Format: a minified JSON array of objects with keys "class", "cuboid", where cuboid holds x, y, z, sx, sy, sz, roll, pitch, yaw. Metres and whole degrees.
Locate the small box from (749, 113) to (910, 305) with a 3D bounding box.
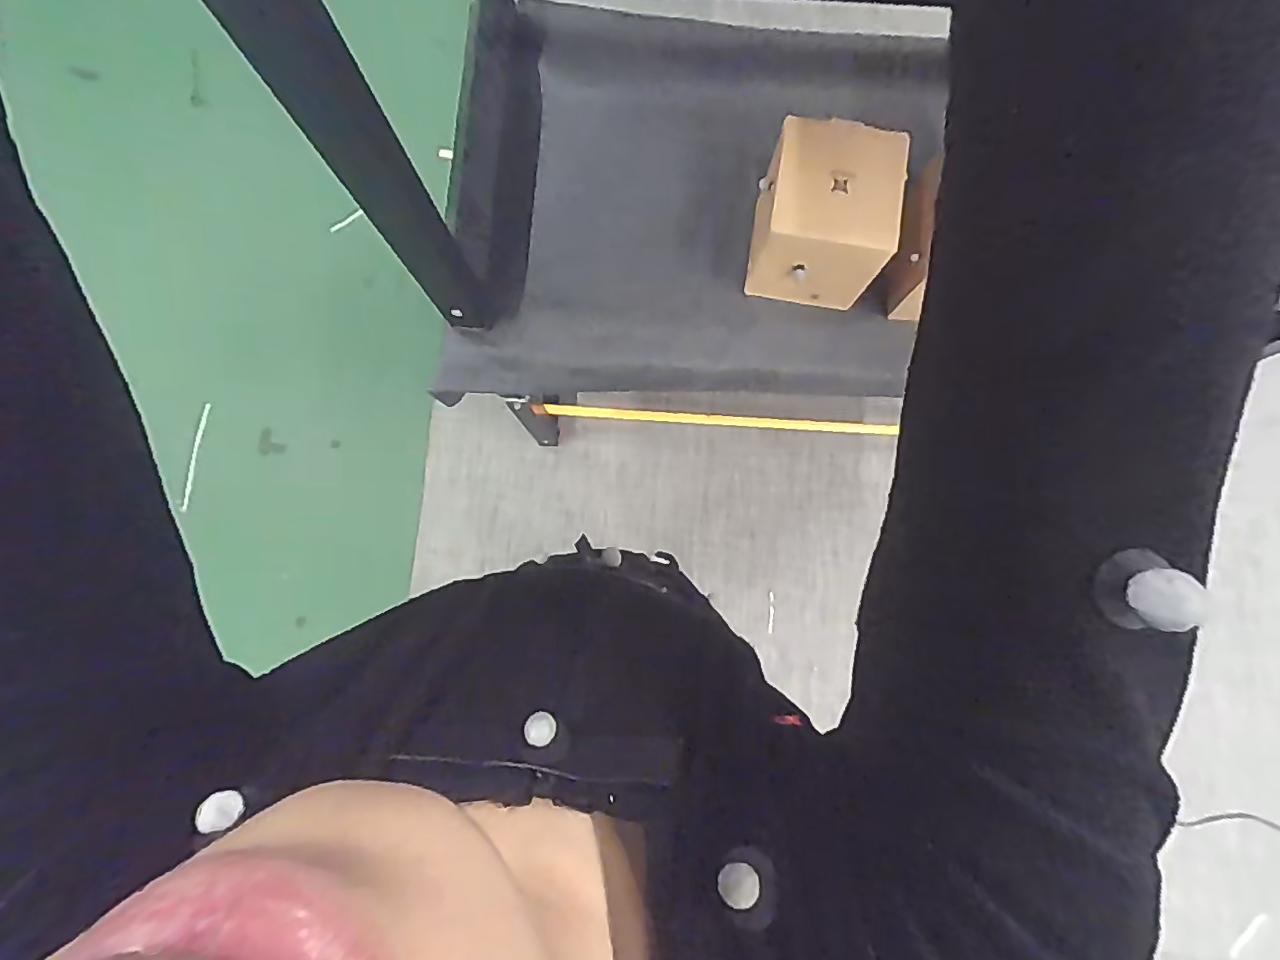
[{"class":"small box","cuboid":[0.260,-0.377,0.780,0.168,0.176,0.179,10,81,1]}]
